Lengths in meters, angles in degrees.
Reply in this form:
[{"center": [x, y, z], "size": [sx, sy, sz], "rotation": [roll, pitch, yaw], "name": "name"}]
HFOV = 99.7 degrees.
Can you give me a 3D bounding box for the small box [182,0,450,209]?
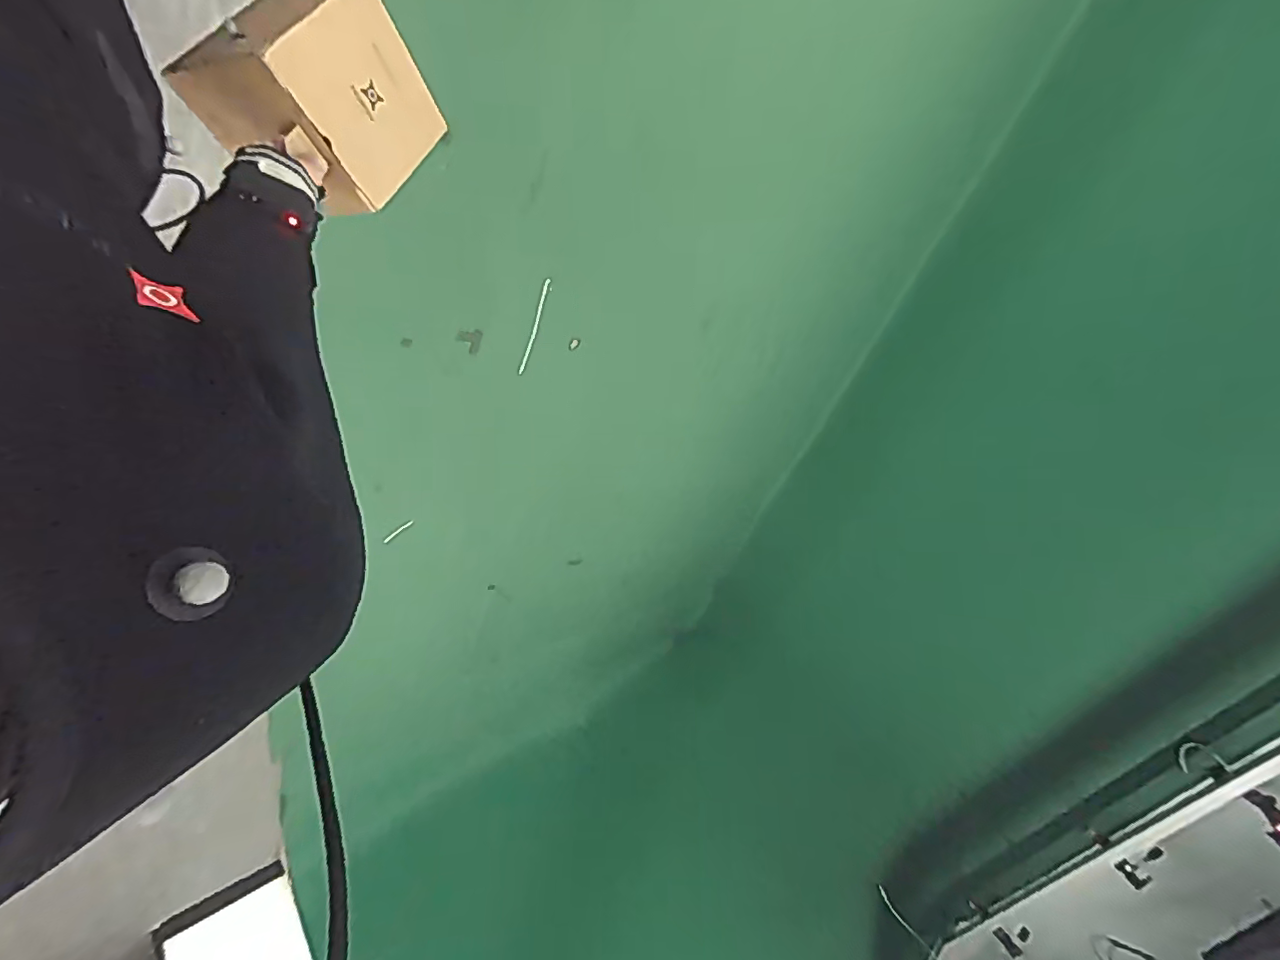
[{"center": [-0.364, -0.435, 0.619], "size": [0.168, 0.176, 0.179], "rotation": [63, 43, -57], "name": "small box"}]
